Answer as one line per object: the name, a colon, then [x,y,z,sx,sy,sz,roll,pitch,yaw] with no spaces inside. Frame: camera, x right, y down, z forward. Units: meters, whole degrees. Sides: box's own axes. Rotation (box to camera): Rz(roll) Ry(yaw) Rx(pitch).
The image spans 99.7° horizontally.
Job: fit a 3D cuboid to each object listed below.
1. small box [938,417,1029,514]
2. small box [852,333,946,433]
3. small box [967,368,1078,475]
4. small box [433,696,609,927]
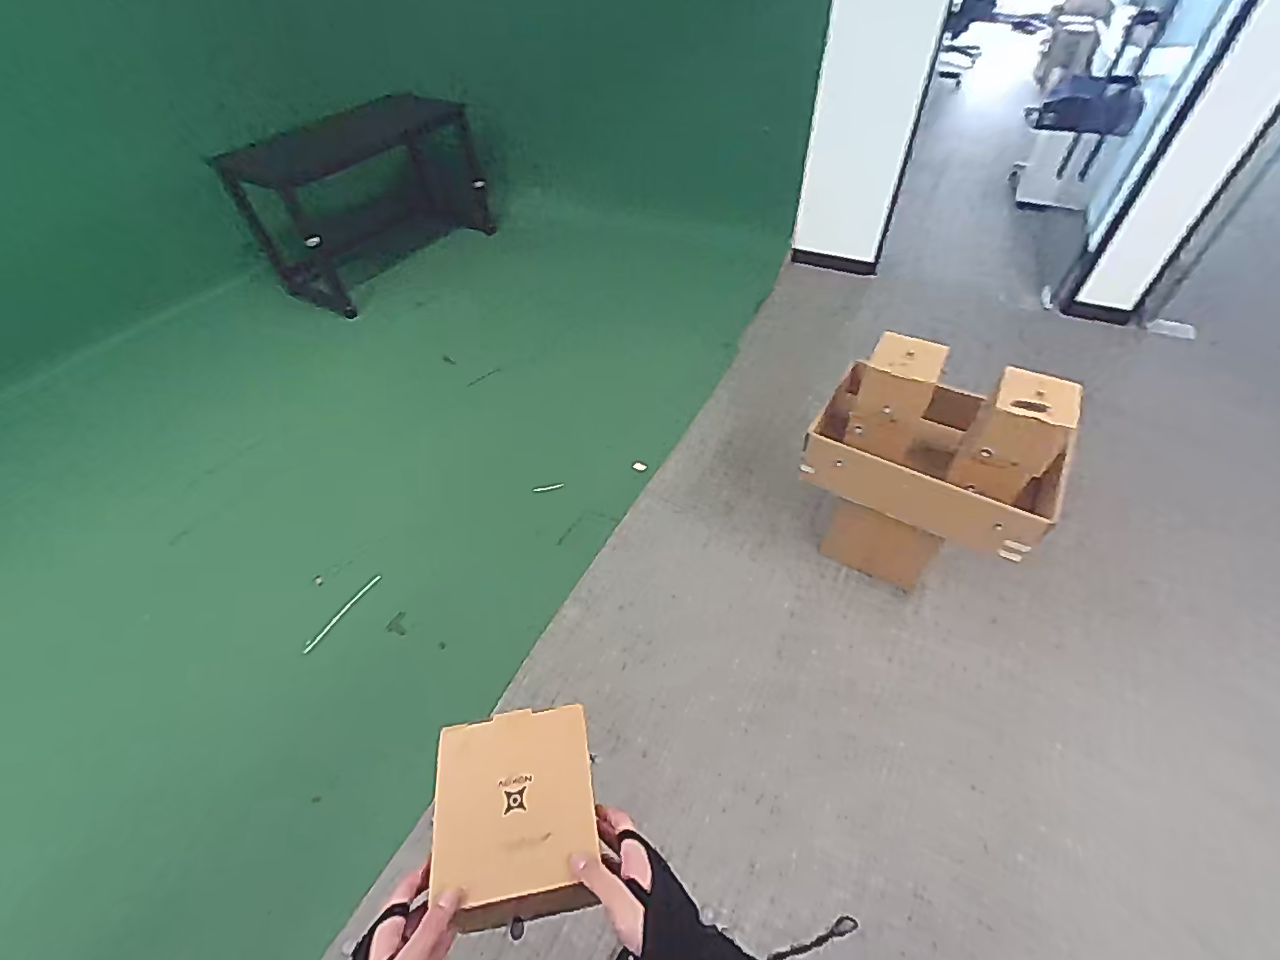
small box: [0.938,-0.042,1.462,0.168,0.176,0.179,26,56,23]
small box: [0.686,-0.259,1.445,0.168,0.176,0.179,22,54,22]
small box: [0.933,-0.141,1.331,0.168,0.176,0.179,23,54,21]
small box: [-0.127,0.379,0.622,0.168,0.176,0.179,-6,45,-8]
